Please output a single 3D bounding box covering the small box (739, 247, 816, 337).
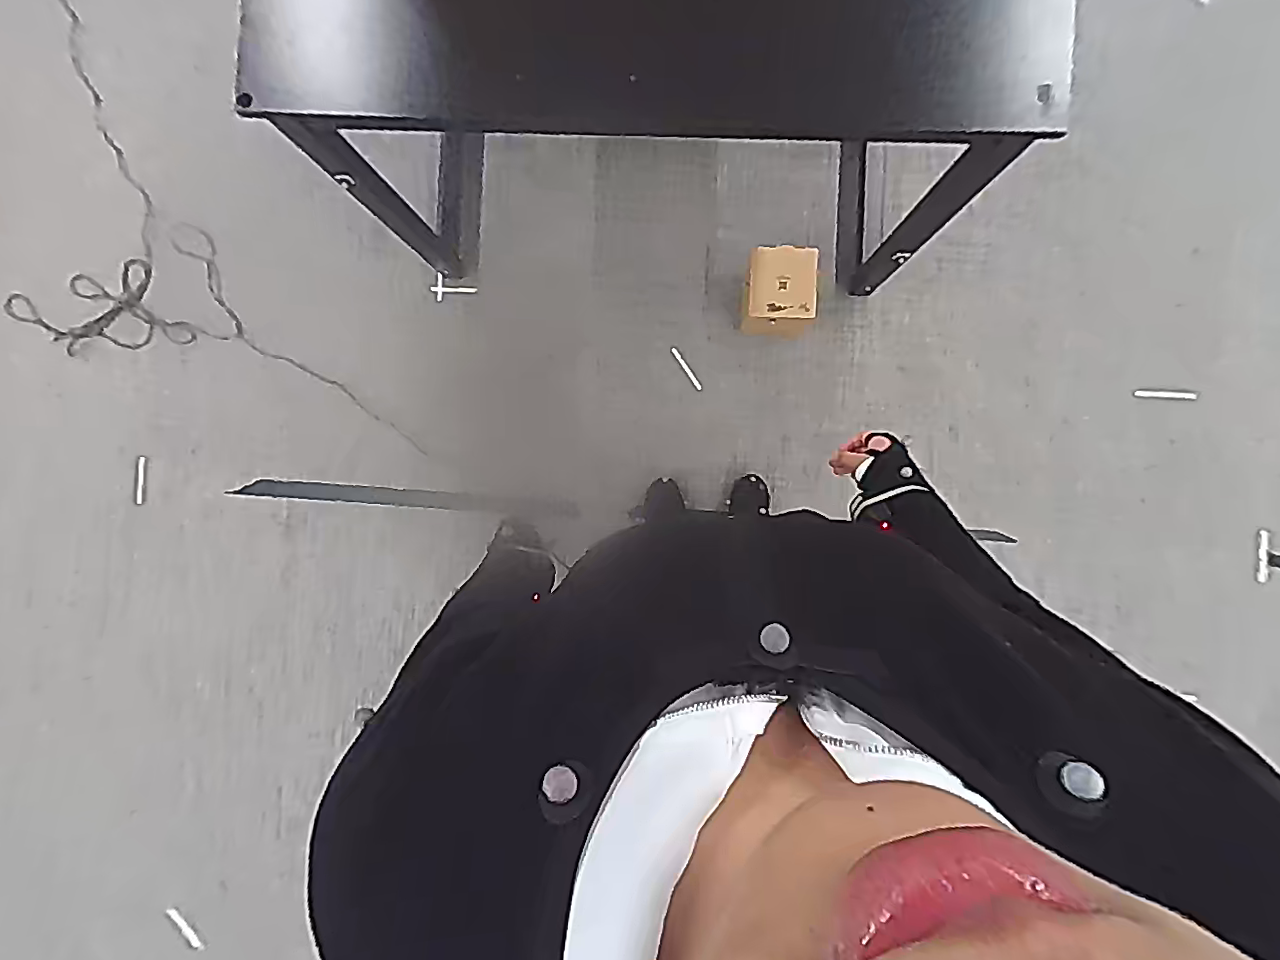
[{"bbox_3d":[0.352,-0.486,1.411,0.168,0.176,0.179,2,90,4],"label":"small box"}]
